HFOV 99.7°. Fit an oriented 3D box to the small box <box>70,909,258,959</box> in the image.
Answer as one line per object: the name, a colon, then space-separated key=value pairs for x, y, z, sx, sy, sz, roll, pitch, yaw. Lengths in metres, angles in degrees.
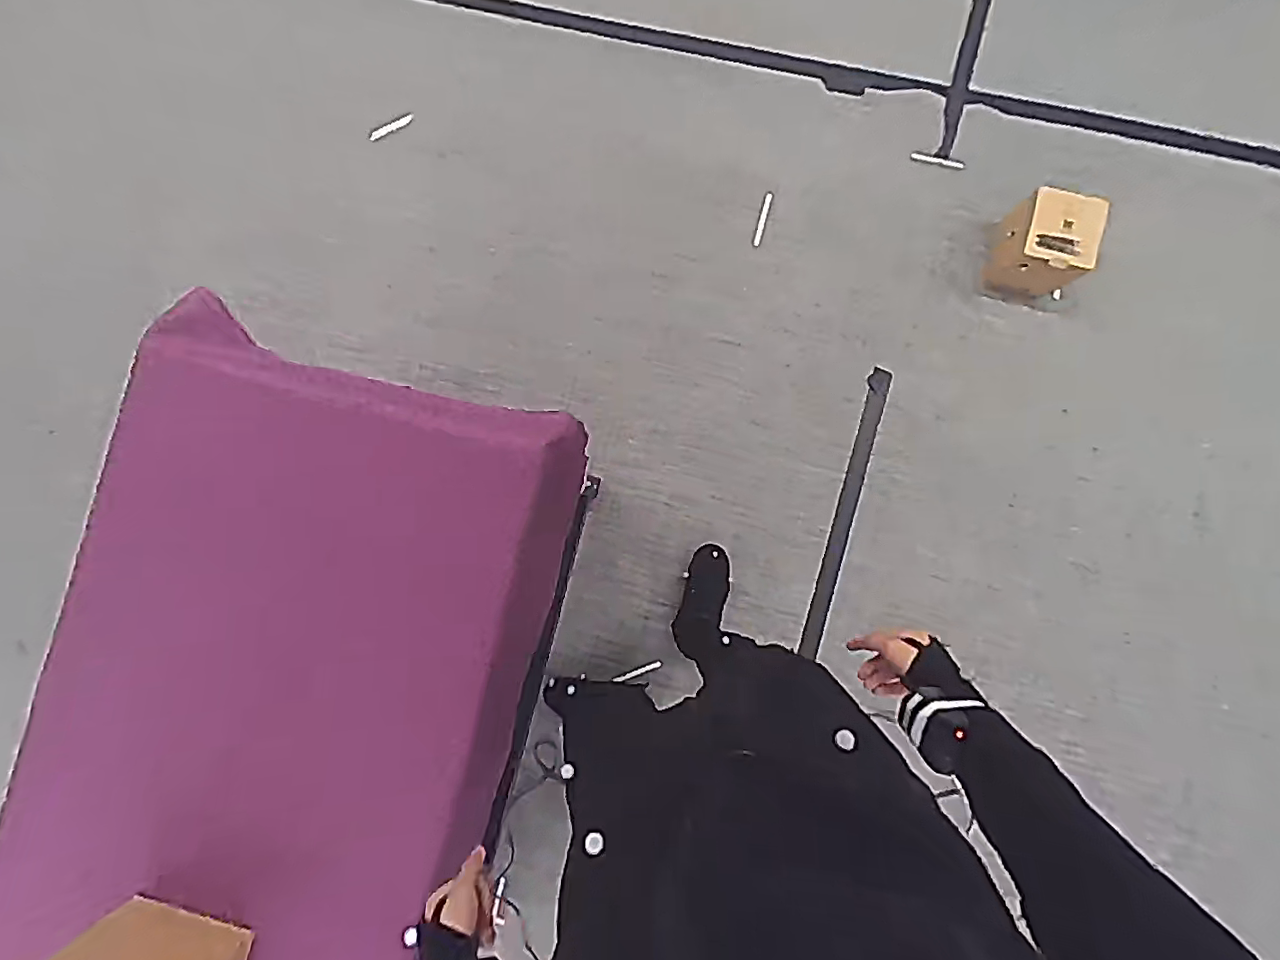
small box: x=-0.608 y=0.658 z=0.634 sx=0.179 sy=0.176 sz=0.168 roll=14 pitch=88 yaw=3
